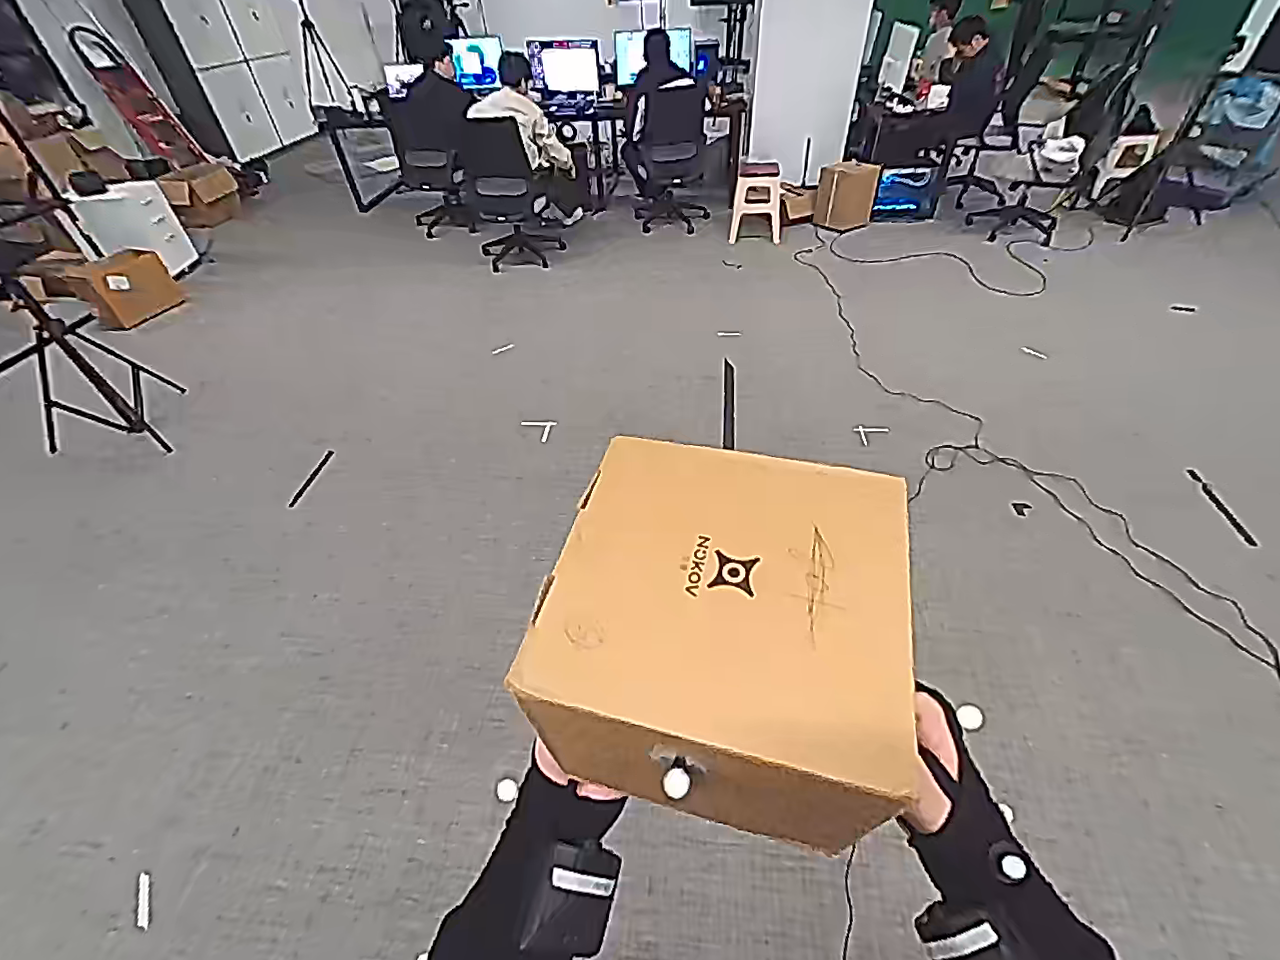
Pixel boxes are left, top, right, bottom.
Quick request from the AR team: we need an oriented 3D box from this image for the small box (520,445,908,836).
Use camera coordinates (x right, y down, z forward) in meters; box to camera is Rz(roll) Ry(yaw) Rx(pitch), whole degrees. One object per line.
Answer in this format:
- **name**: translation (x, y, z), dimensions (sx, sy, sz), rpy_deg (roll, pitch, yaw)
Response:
- **small box**: translation (0.051, 0.103, 0.344), dimensions (0.179, 0.176, 0.168), rpy_deg (10, 51, 12)
